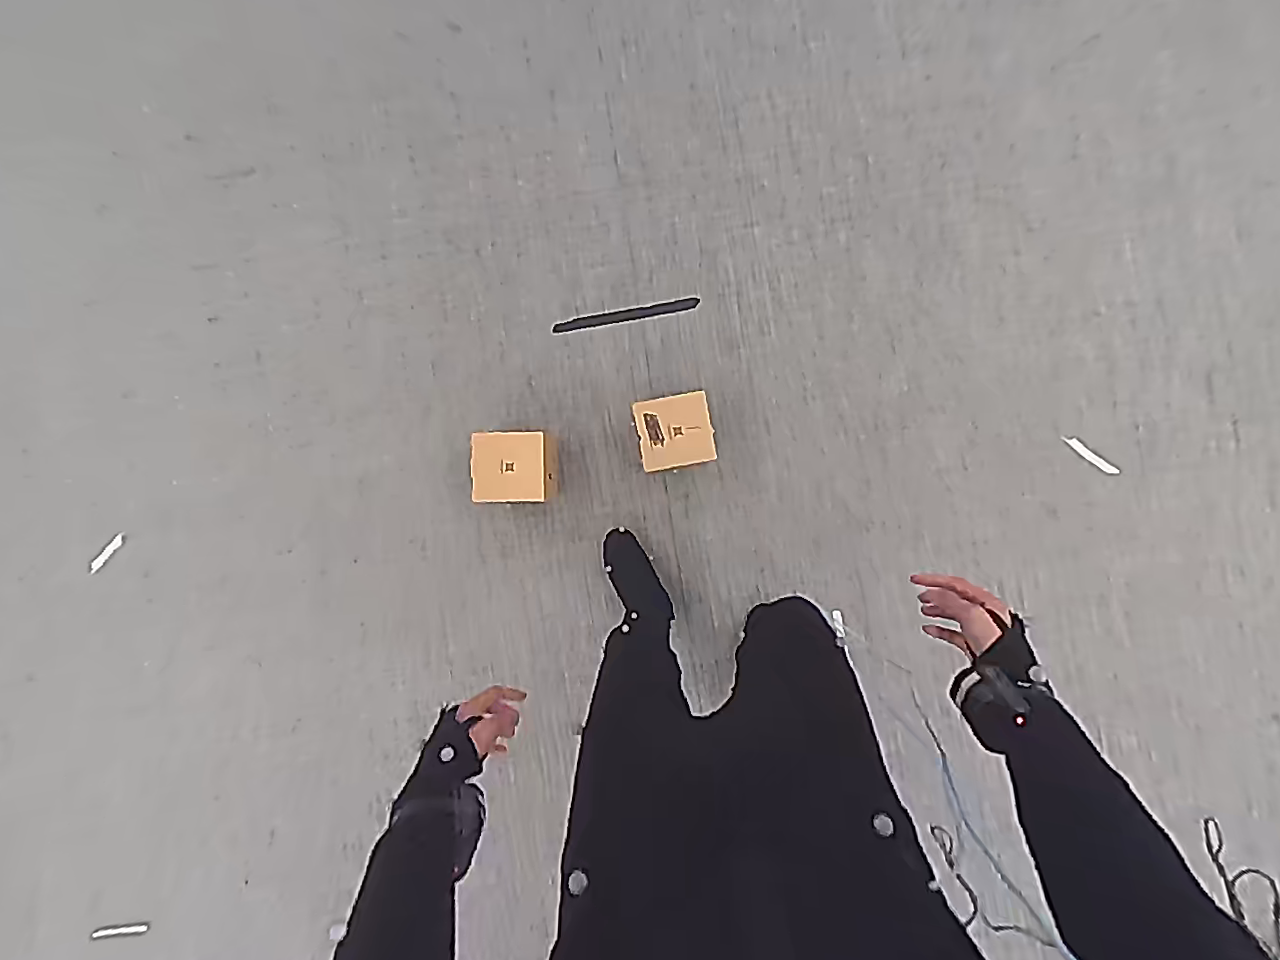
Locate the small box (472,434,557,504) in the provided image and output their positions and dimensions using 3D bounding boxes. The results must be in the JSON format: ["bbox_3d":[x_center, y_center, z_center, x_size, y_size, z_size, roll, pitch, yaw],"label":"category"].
[{"bbox_3d":[-0.306,-0.027,1.351,0.179,0.176,0.168,-1,90,3],"label":"small box"}]

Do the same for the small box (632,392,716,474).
[{"bbox_3d":[0.081,-0.109,1.335,0.179,0.176,0.168,-10,90,1],"label":"small box"}]
